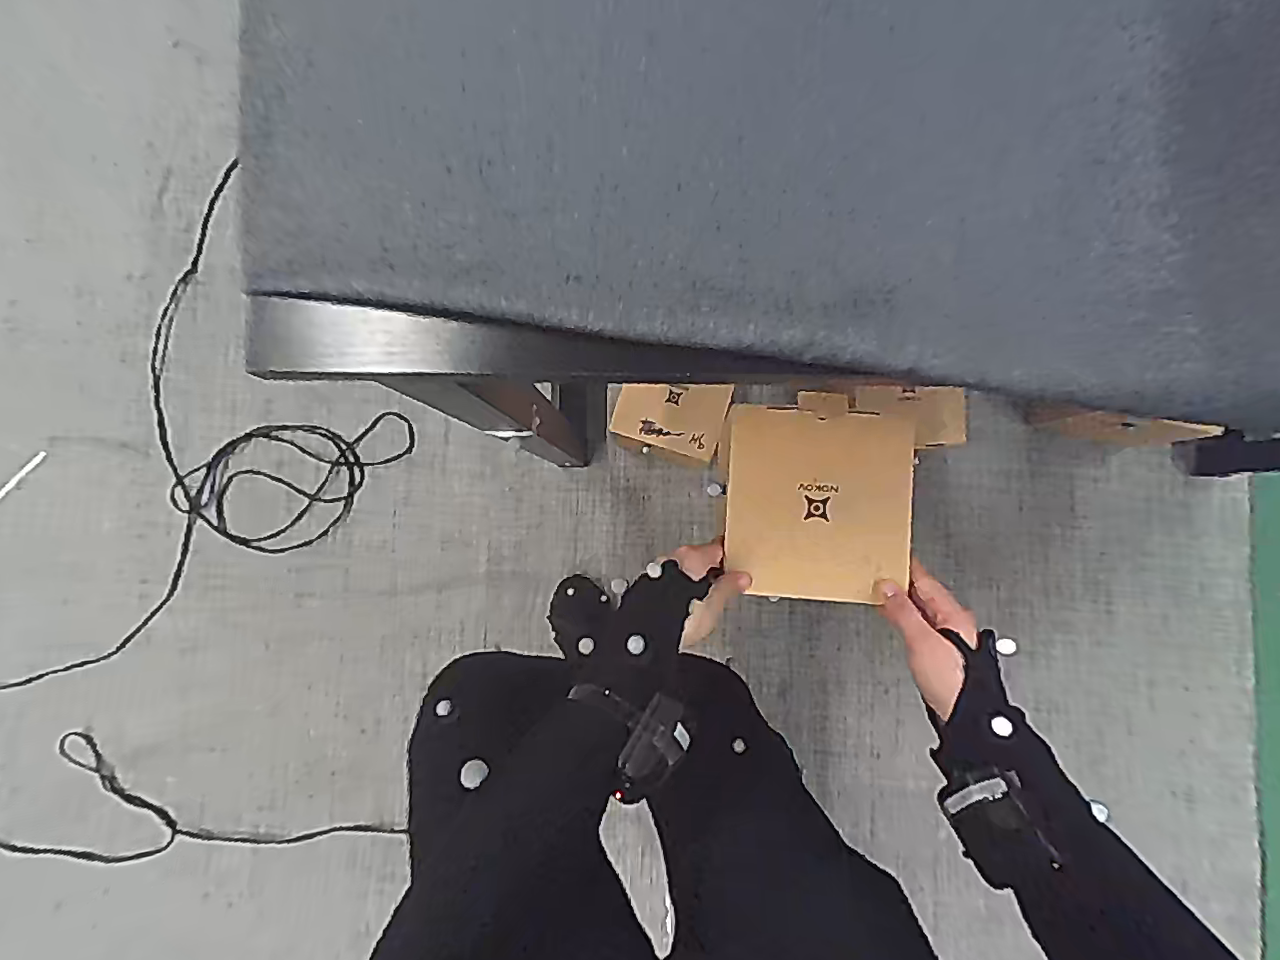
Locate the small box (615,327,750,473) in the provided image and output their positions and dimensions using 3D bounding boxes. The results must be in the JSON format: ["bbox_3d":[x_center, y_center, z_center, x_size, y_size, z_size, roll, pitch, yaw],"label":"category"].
[{"bbox_3d":[0.065,-0.121,0.892,0.168,0.176,0.179,18,87,3],"label":"small box"}]

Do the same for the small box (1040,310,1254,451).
[{"bbox_3d":[0.796,-0.148,0.869,0.179,0.176,0.168,14,88,1],"label":"small box"}]

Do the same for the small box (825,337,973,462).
[{"bbox_3d":[0.409,-0.121,0.880,0.168,0.176,0.179,-1,85,1],"label":"small box"}]
